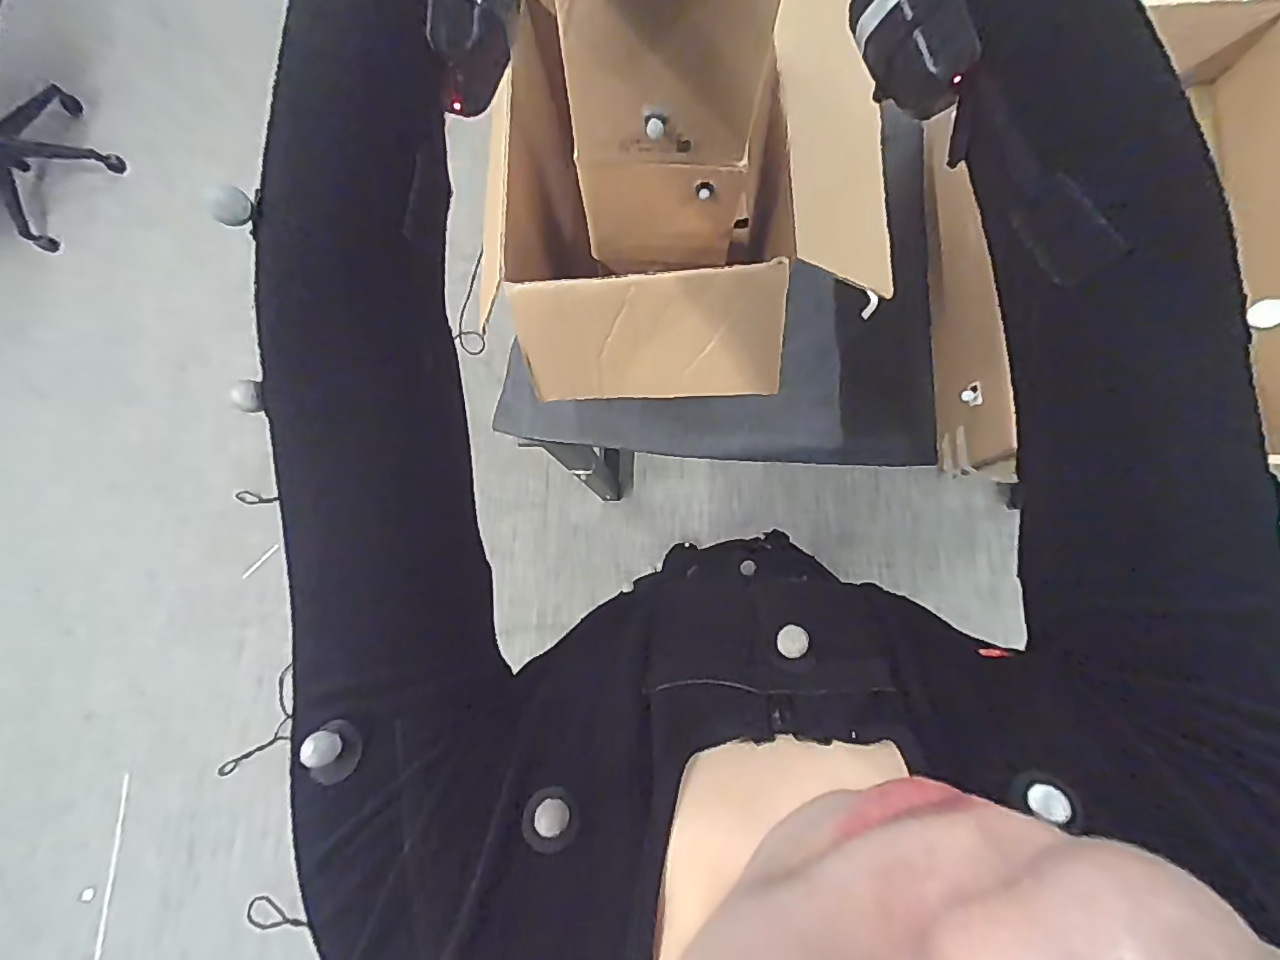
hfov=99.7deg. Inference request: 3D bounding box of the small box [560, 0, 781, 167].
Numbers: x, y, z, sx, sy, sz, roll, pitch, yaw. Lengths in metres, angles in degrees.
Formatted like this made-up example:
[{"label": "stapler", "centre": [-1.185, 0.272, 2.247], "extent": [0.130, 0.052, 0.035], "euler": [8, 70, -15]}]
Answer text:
[{"label": "small box", "centre": [0.021, -0.413, 0.473], "extent": [0.168, 0.176, 0.179], "euler": [0, 79, 1]}]
